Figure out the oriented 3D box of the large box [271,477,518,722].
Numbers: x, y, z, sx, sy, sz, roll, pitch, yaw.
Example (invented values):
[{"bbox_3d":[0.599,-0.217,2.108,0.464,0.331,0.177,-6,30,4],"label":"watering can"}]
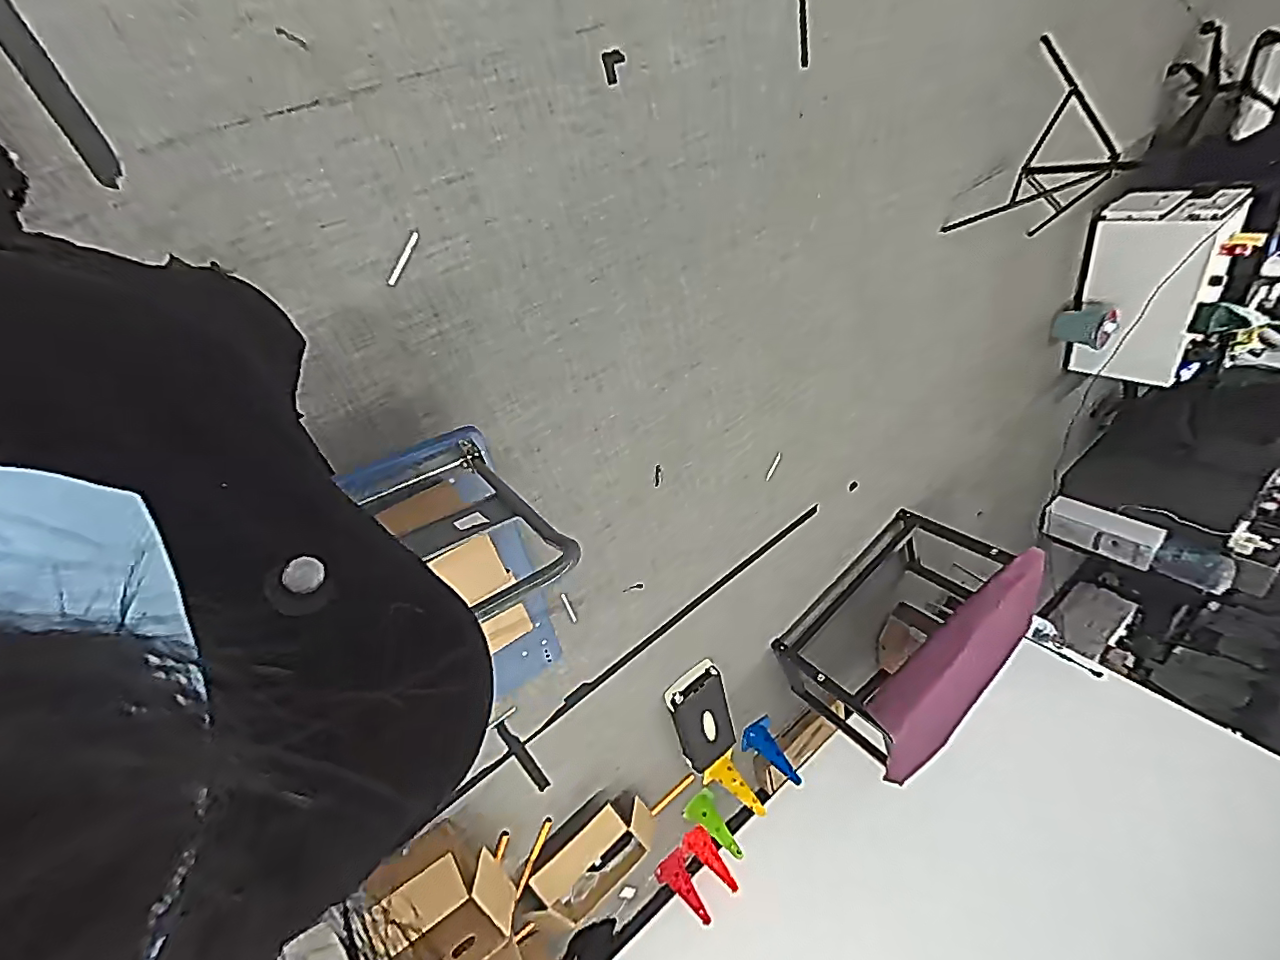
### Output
[{"bbox_3d":[-0.563,0.254,1.261,0.408,0.320,0.320,-30,125,-21],"label":"large box"}]
